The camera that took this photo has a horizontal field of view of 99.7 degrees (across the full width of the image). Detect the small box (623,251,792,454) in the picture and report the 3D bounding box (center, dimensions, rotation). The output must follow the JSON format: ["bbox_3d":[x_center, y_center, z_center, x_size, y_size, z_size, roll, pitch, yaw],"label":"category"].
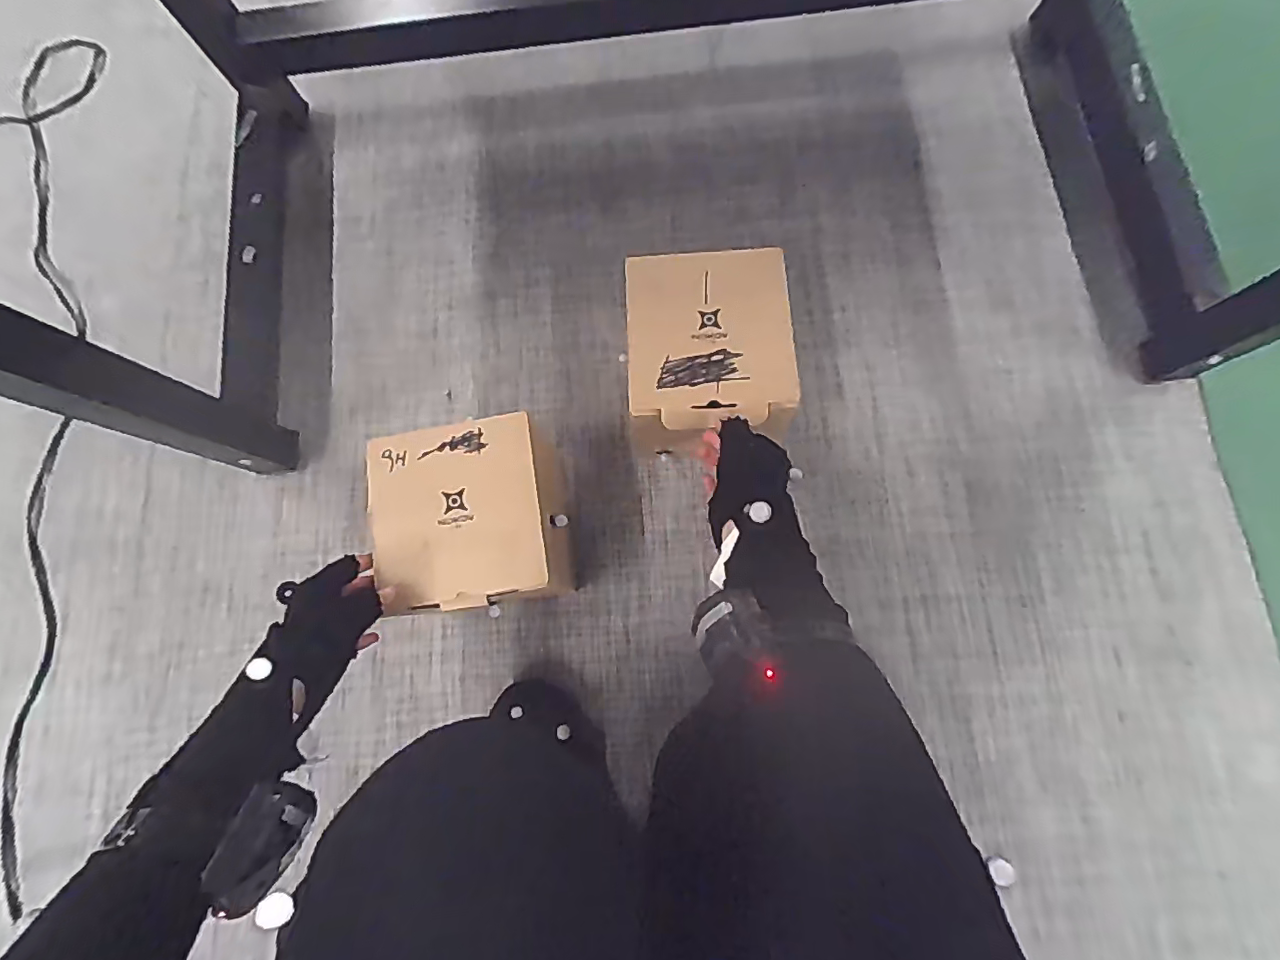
[{"bbox_3d":[0.071,-0.132,0.622,0.168,0.176,0.179,-3,76,3],"label":"small box"}]
